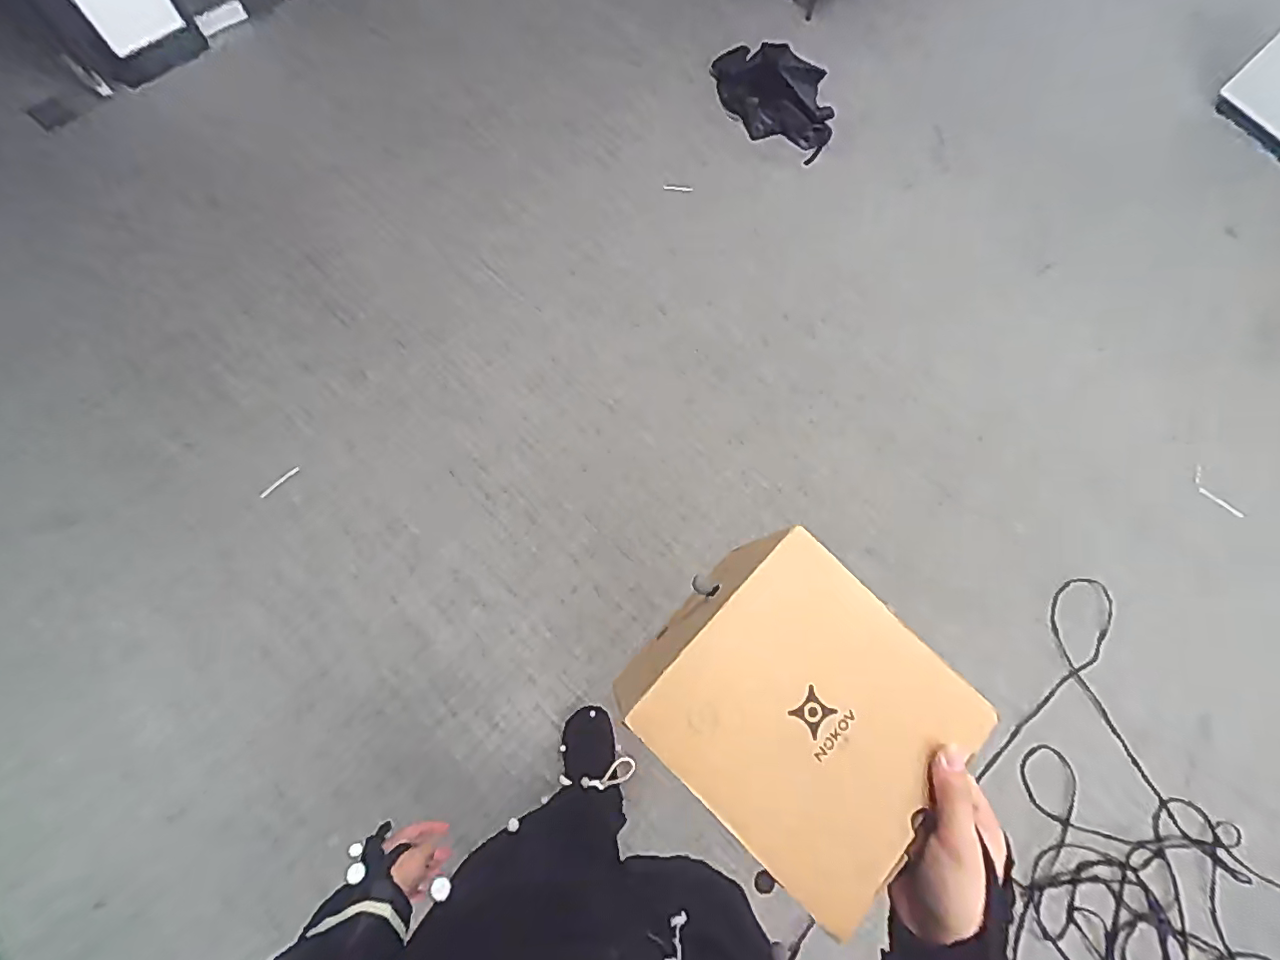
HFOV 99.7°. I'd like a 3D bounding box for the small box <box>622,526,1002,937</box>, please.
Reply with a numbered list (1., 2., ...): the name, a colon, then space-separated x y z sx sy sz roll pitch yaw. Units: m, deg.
1. small box: 0.103 0.162 0.404 0.179 0.176 0.168 44 76 4
